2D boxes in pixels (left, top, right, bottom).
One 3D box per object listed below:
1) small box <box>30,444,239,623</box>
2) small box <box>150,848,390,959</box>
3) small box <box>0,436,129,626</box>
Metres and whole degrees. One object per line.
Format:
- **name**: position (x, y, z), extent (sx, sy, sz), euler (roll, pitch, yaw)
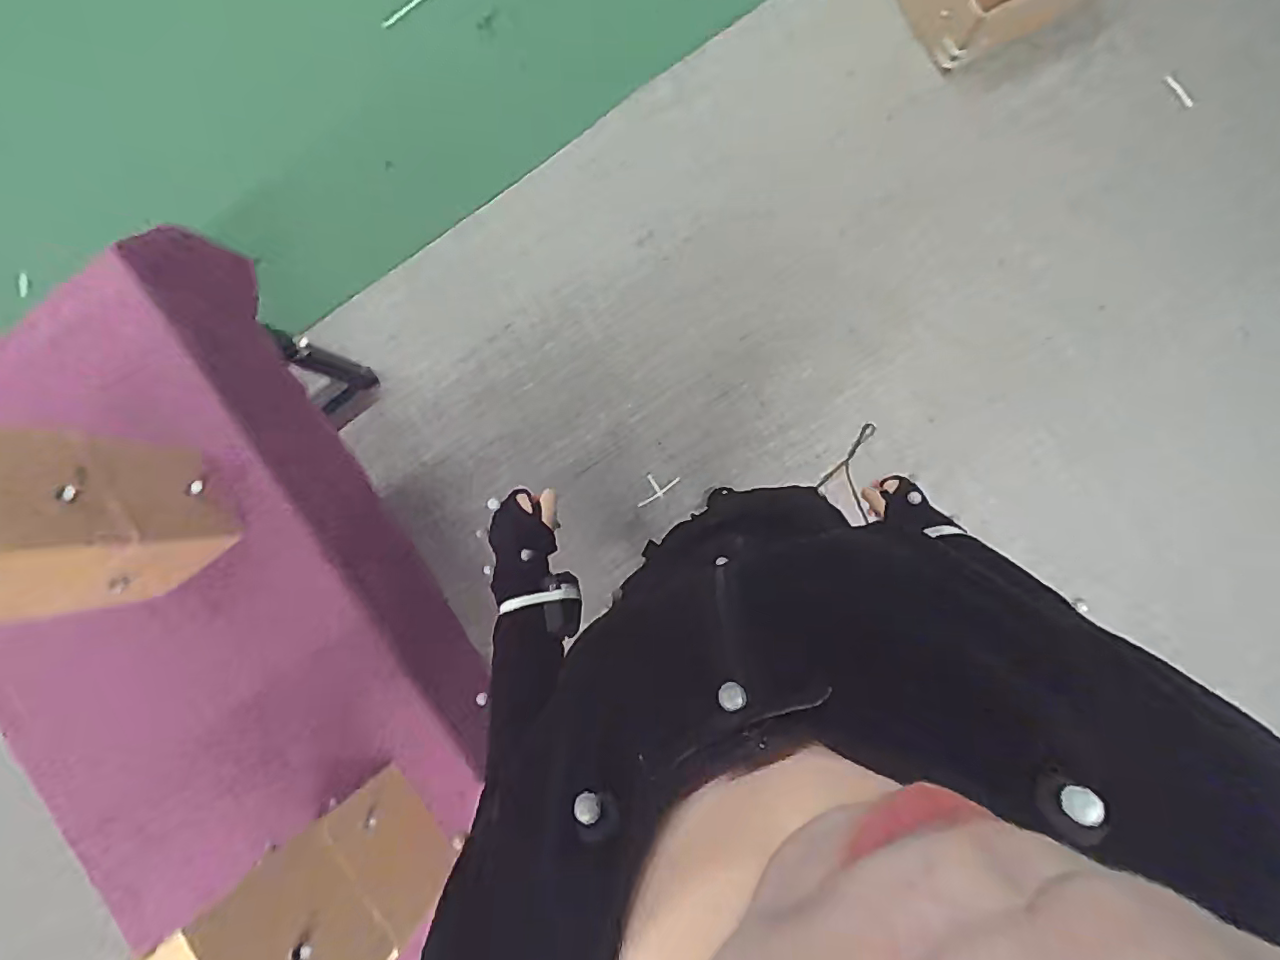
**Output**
- **small box**: position (-0.730, 0.071, 0.762), extent (0.179, 0.176, 0.168), euler (-34, 86, 3)
- **small box**: position (-0.402, 0.523, 0.549), extent (0.168, 0.176, 0.179), euler (-39, 85, 3)
- **small box**: position (-0.746, 0.063, 0.600), extent (0.179, 0.176, 0.168), euler (-34, 85, 2)
